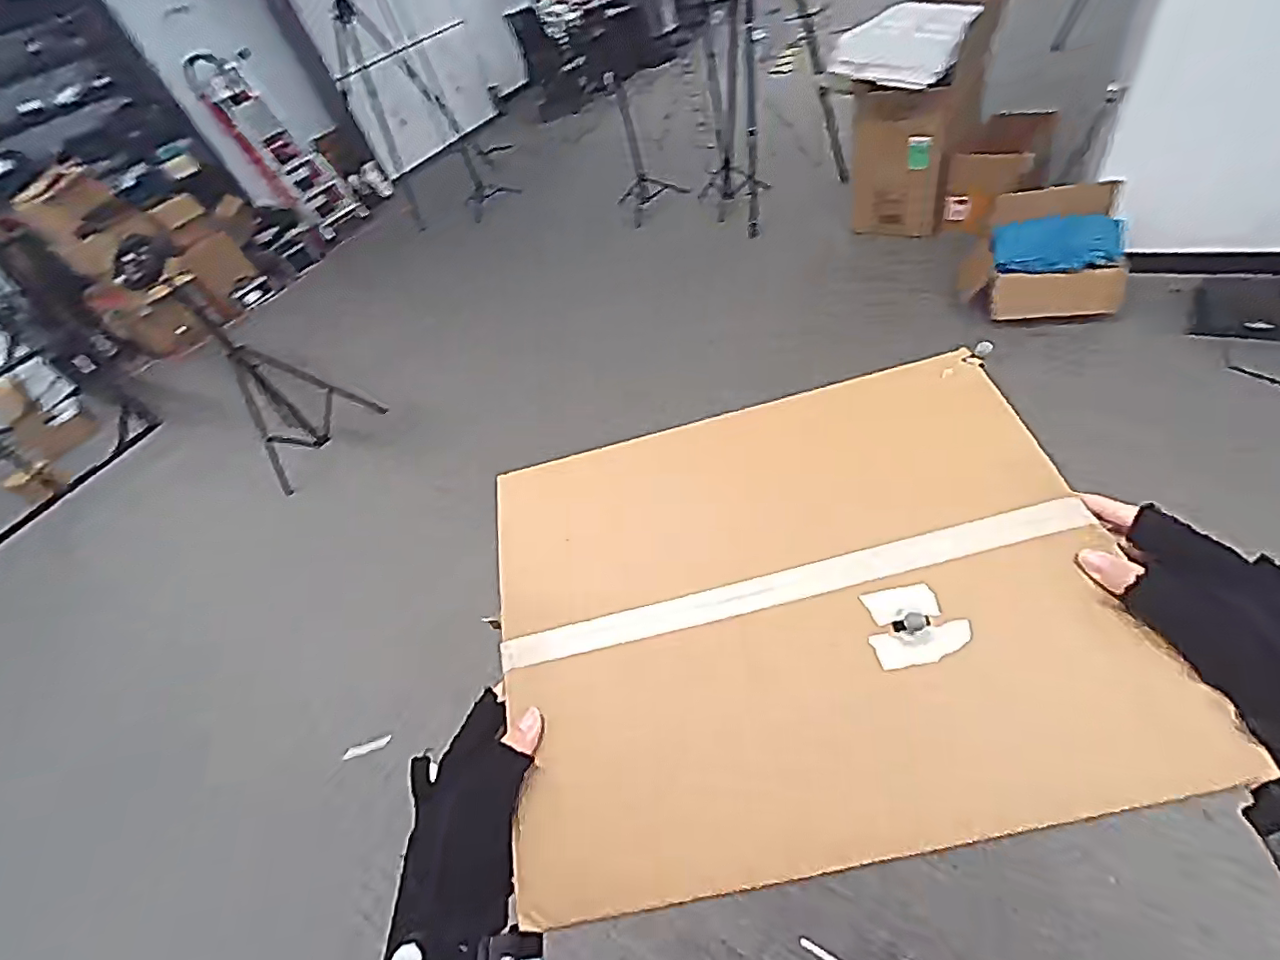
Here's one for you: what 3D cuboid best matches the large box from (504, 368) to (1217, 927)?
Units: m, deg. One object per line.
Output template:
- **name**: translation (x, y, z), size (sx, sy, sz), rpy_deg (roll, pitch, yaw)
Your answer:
- **large box**: translation (0.127, 0.159, 0.510), size (0.408, 0.320, 0.320), rpy_deg (-16, 57, 3)
